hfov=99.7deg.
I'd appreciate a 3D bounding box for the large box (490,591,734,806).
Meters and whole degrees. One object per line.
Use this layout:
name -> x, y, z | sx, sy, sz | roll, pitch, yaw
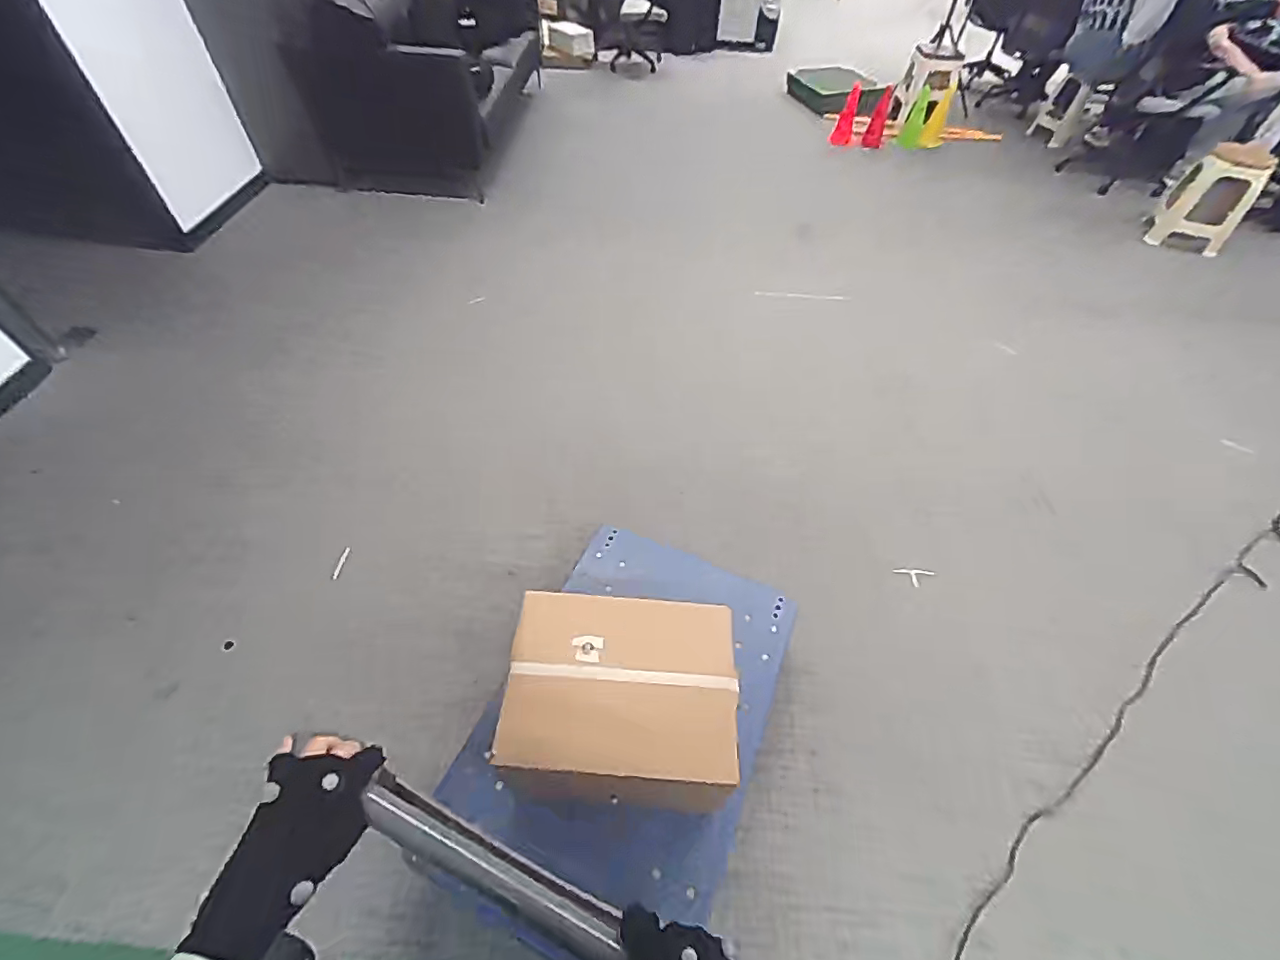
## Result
large box -> -0.039, 0.443, 1.079 | 0.408, 0.320, 0.320 | 5, 51, 2
